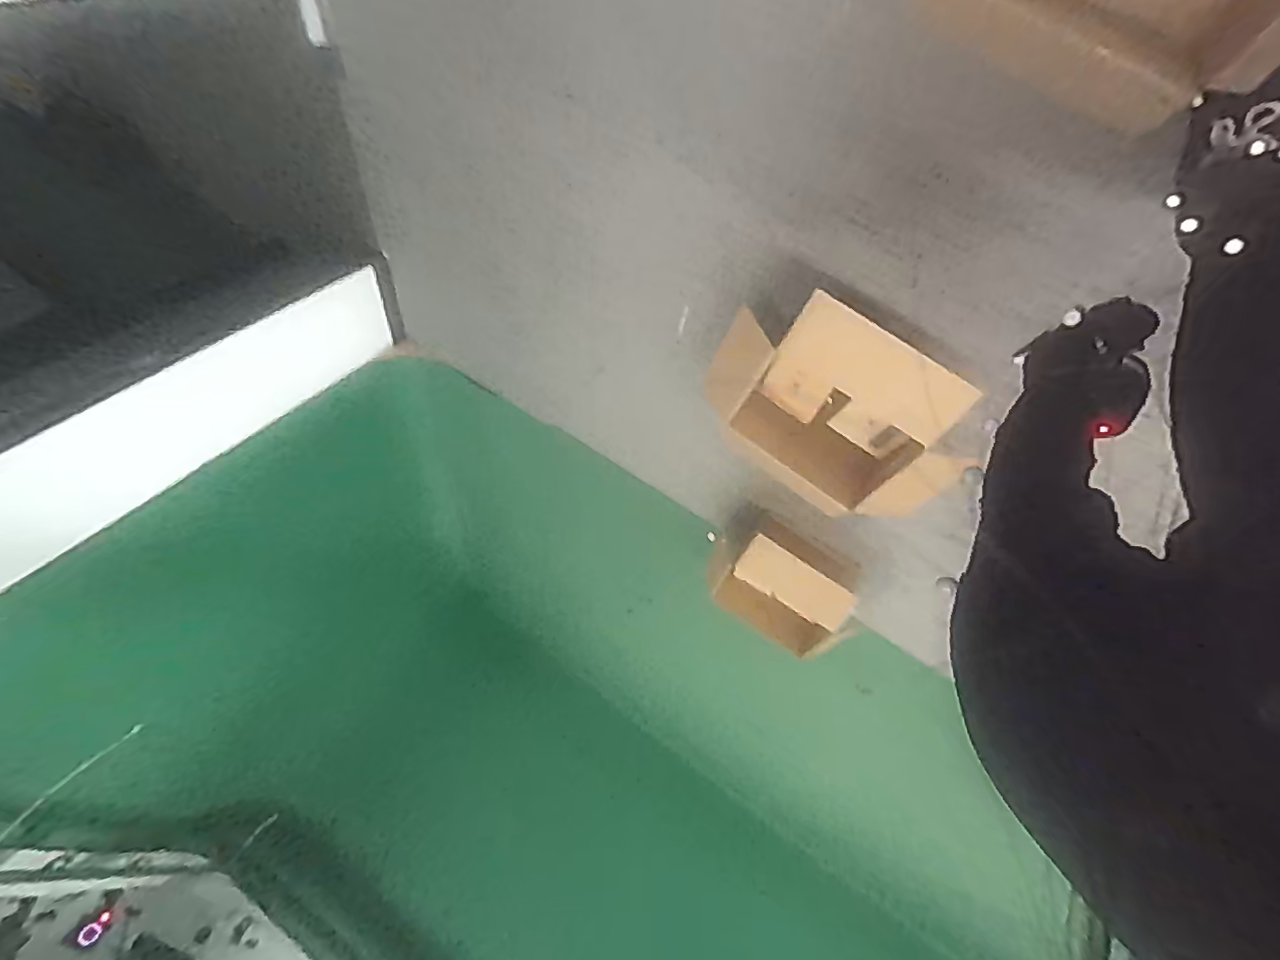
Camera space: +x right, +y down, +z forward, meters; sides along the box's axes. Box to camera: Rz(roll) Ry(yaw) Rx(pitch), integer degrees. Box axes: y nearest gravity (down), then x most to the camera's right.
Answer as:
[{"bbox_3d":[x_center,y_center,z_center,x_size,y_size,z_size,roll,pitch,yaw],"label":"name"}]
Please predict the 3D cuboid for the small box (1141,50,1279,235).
[{"bbox_3d":[0.939,-0.518,0.835,0.179,0.176,0.168,57,158,15],"label":"small box"}]
